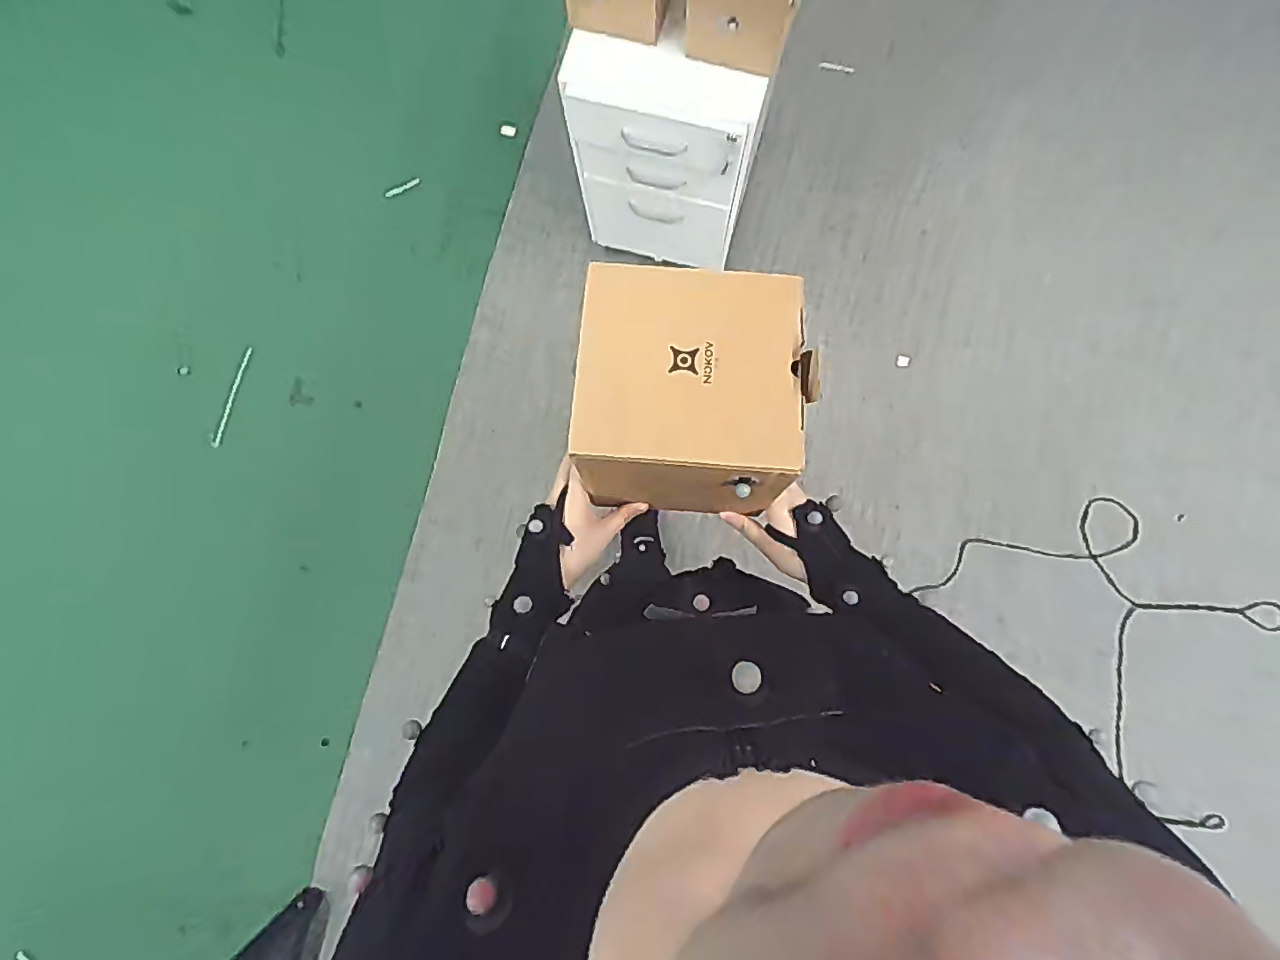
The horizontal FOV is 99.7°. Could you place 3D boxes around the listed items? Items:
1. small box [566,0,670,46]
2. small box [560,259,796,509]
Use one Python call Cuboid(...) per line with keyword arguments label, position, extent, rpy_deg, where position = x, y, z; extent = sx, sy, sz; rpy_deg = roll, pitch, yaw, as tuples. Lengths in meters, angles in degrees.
Cuboid(label="small box", position=(-0.038, -0.936, 0.975), extent=(0.179, 0.176, 0.168), rpy_deg=(15, 84, 4))
Cuboid(label="small box", position=(0.033, -0.074, 0.493), extent=(0.179, 0.176, 0.168), rpy_deg=(4, 74, 0))
